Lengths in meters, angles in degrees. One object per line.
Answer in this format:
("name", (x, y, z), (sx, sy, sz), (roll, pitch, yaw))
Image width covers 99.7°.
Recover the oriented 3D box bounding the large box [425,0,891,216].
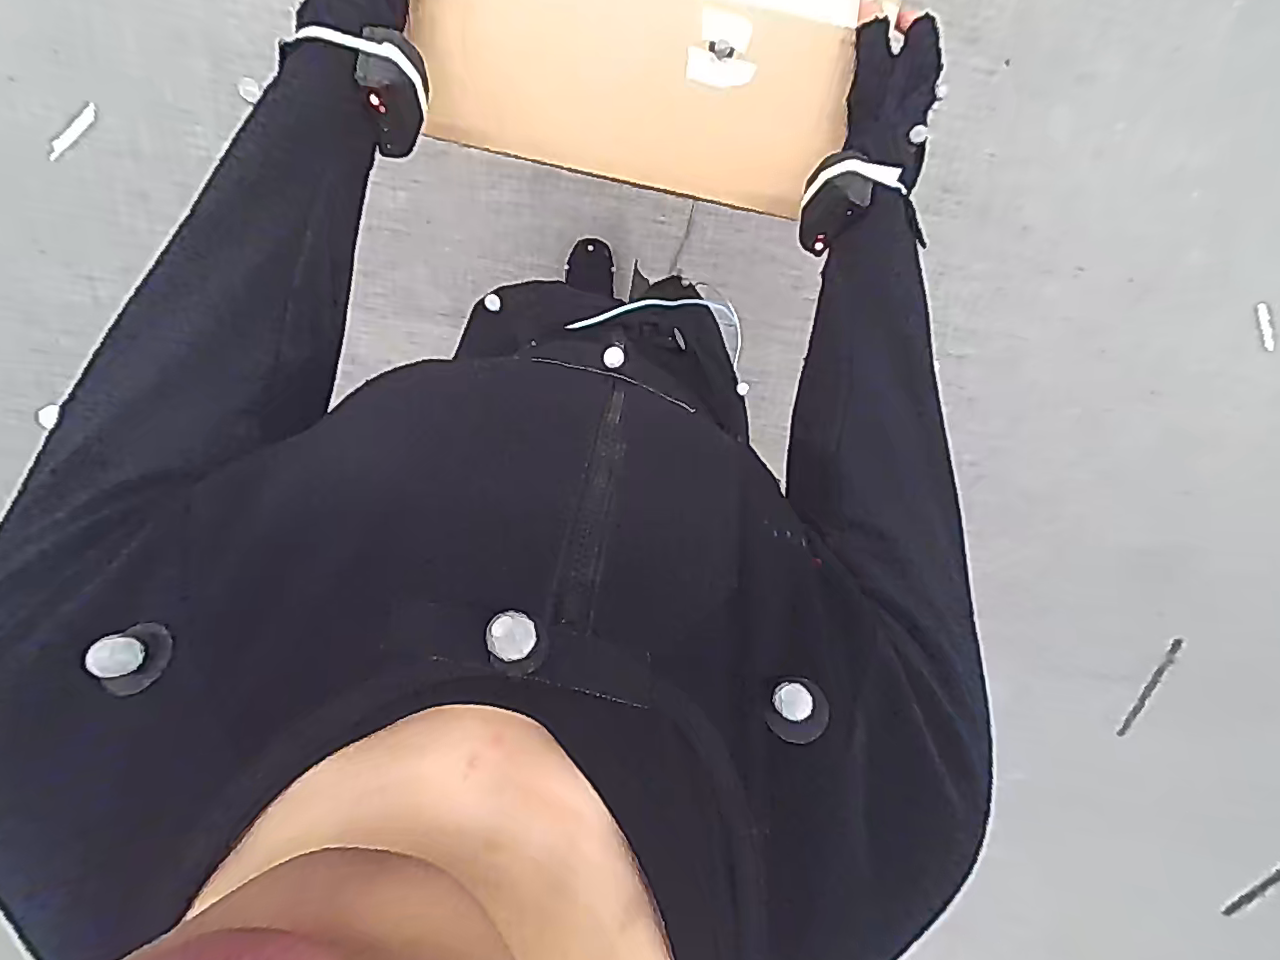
("large box", (0.017, -0.500, 0.588), (0.408, 0.320, 0.320), (10, 119, -6))
